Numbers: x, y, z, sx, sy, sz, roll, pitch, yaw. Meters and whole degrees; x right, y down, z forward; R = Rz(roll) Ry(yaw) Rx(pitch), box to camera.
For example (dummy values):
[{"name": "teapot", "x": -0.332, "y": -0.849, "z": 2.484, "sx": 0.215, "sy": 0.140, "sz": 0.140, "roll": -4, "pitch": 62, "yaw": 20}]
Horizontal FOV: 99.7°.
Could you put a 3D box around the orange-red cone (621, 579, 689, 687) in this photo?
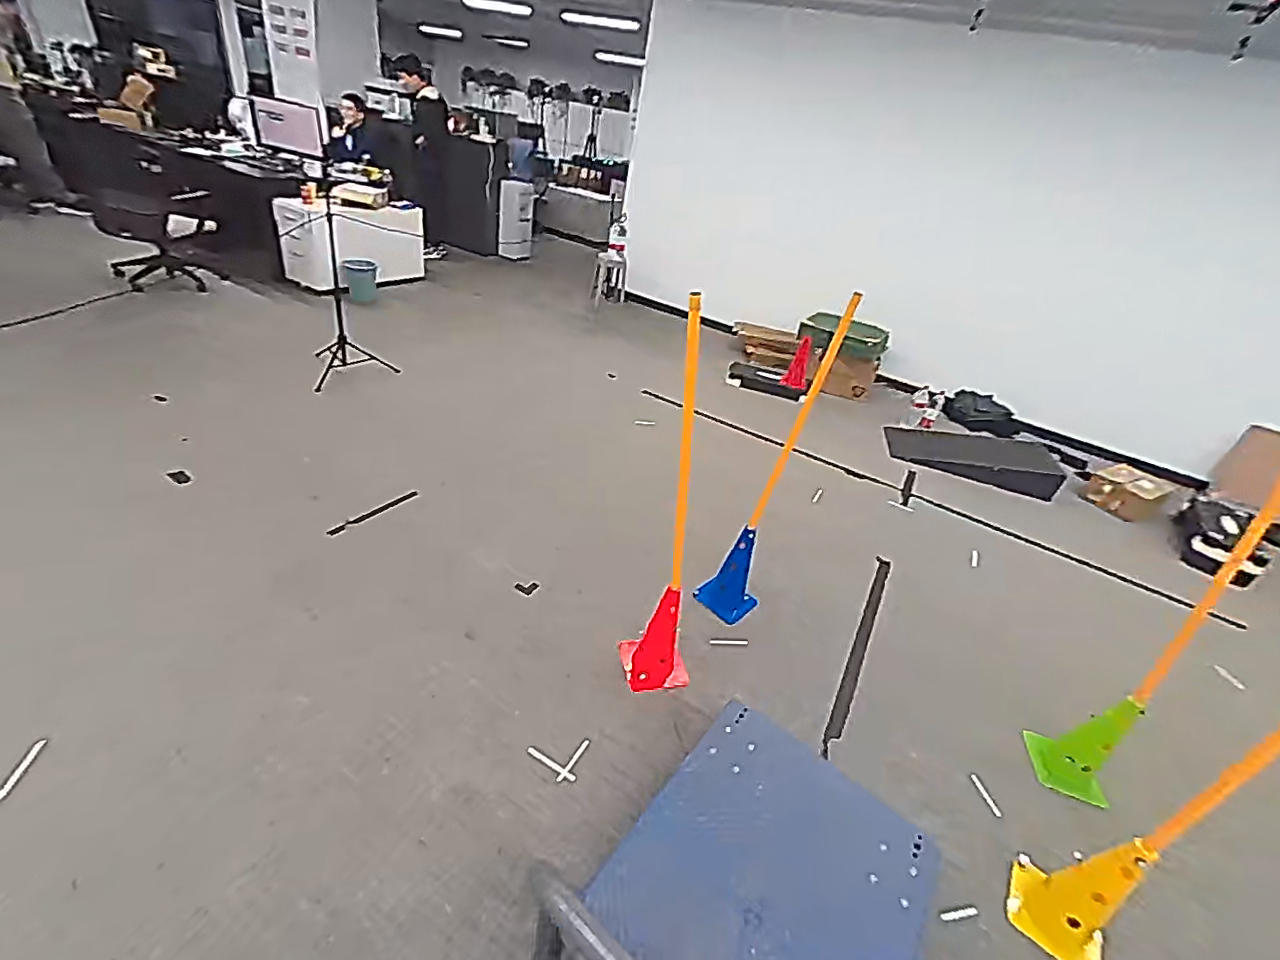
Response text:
[{"name": "orange-red cone", "x": 0.079, "y": 0.449, "z": 1.682, "sx": 0.199, "sy": 0.360, "sz": 0.198, "roll": 2, "pitch": 34, "yaw": -18}]

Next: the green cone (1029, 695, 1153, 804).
[{"name": "green cone", "x": 1.389, "y": 0.764, "z": 1.623, "sx": 0.200, "sy": 0.368, "sz": 0.202, "roll": 17, "pitch": 34, "yaw": 9}]

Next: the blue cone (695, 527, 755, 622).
[{"name": "blue cone", "x": 0.360, "y": 0.323, "z": 2.002, "sx": 0.192, "sy": 0.380, "sz": 0.193, "roll": -22, "pitch": 45, "yaw": -41}]
